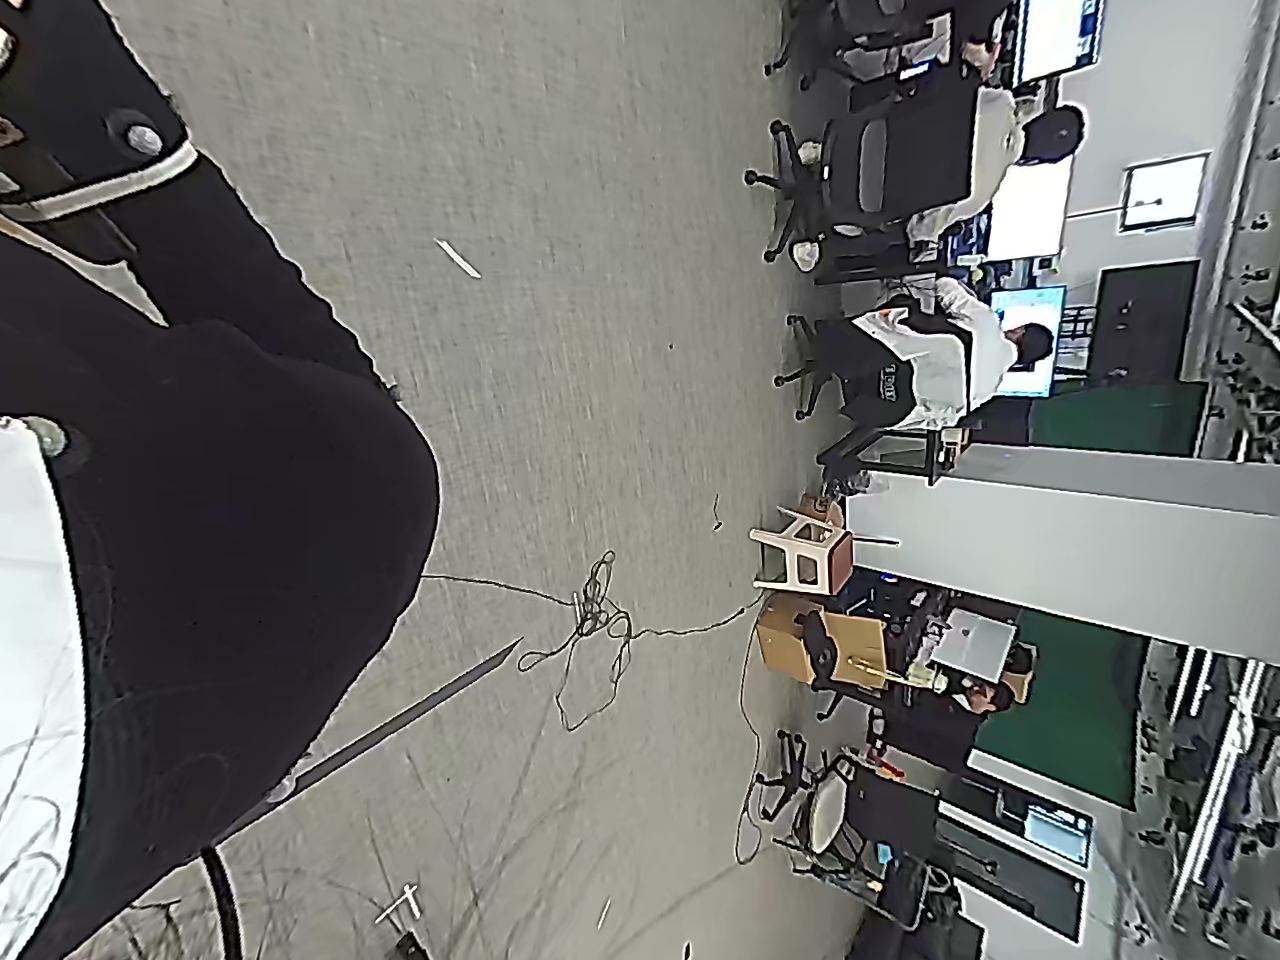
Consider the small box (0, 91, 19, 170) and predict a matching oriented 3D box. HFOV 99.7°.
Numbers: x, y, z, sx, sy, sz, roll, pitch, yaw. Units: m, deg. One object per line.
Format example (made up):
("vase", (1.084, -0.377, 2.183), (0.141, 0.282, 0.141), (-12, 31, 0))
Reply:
("small box", (-0.778, -0.414, 0.533), (0.179, 0.176, 0.168), (-23, 116, -46))
